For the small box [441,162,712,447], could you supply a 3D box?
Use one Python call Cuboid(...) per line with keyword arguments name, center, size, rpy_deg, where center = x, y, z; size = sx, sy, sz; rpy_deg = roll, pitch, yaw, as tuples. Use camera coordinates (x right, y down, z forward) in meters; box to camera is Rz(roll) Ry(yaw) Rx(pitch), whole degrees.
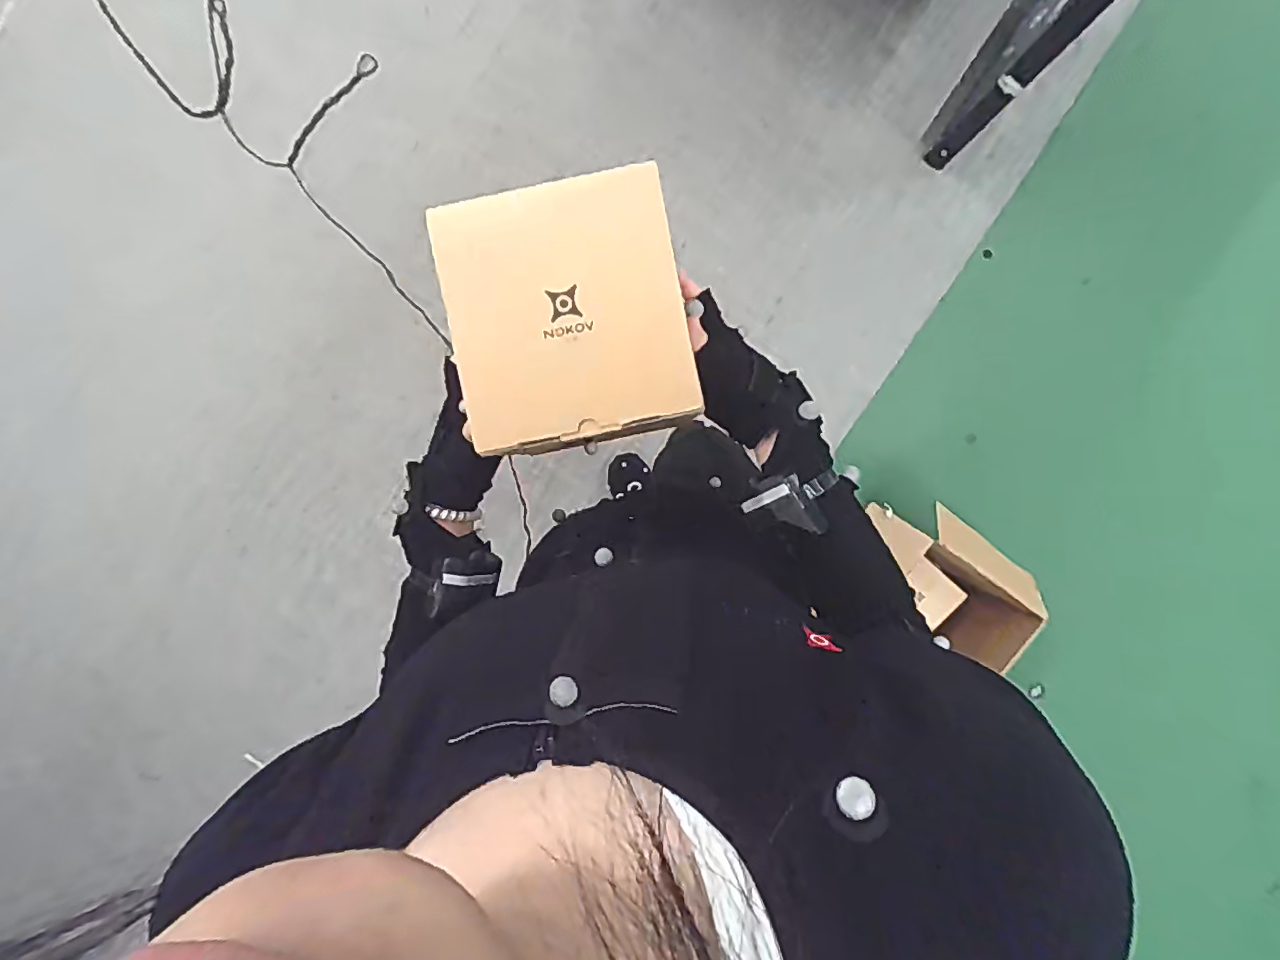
Cuboid(name="small box", center=(-0.045, -0.126, 0.457), size=(0.168, 0.176, 0.179), rpy_deg=(-11, 94, 0))
